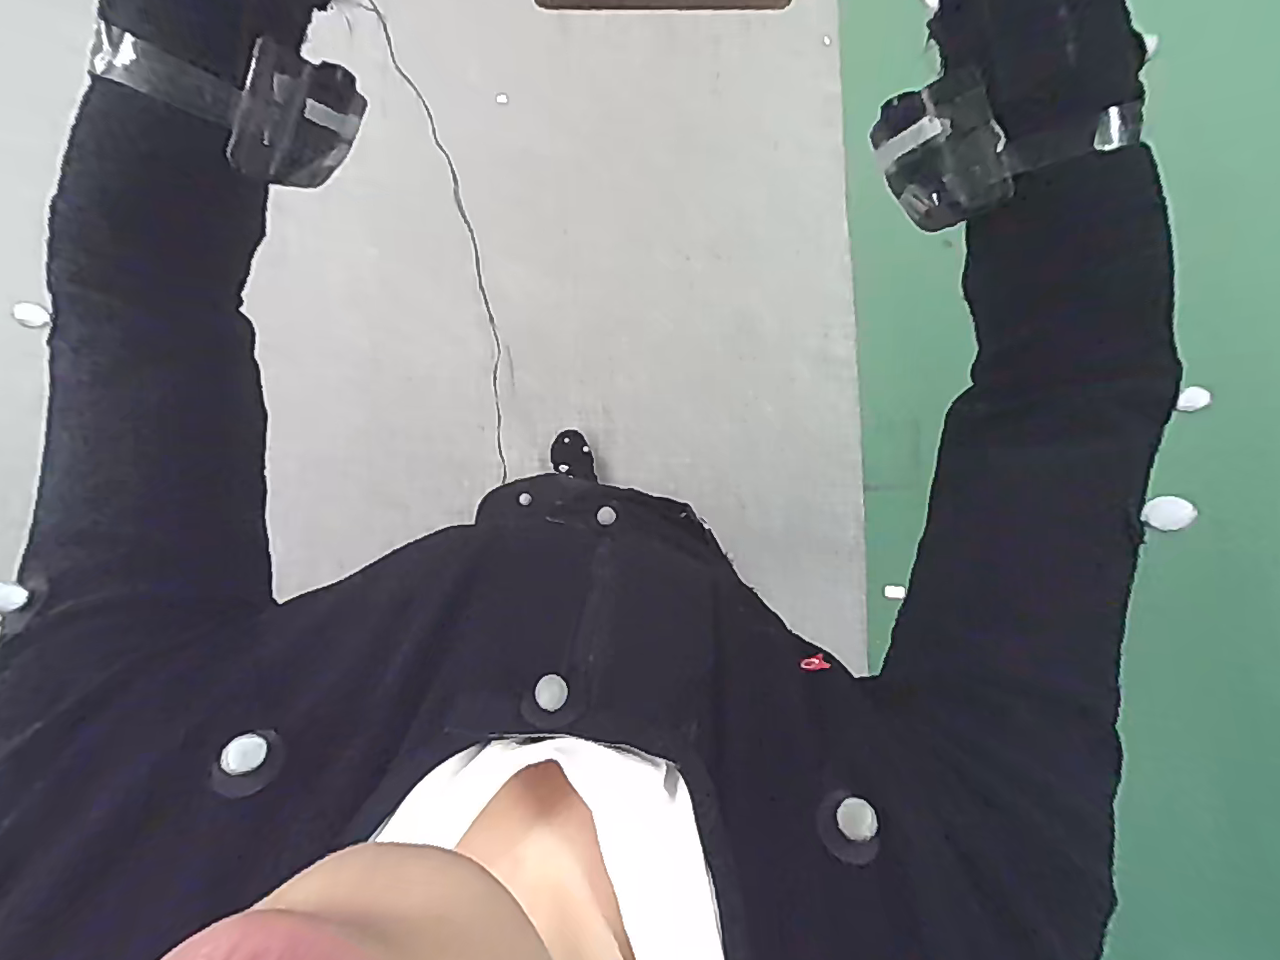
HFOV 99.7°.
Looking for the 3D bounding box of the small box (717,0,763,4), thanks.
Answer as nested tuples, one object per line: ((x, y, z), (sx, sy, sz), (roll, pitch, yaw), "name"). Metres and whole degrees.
((0.015, -0.399, 0.272), (0.168, 0.176, 0.179), (0, 85, 1), "small box")

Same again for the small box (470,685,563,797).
((-0.265, 0.569, 1.196), (0.168, 0.176, 0.179), (0, 84, 1), "small box")
